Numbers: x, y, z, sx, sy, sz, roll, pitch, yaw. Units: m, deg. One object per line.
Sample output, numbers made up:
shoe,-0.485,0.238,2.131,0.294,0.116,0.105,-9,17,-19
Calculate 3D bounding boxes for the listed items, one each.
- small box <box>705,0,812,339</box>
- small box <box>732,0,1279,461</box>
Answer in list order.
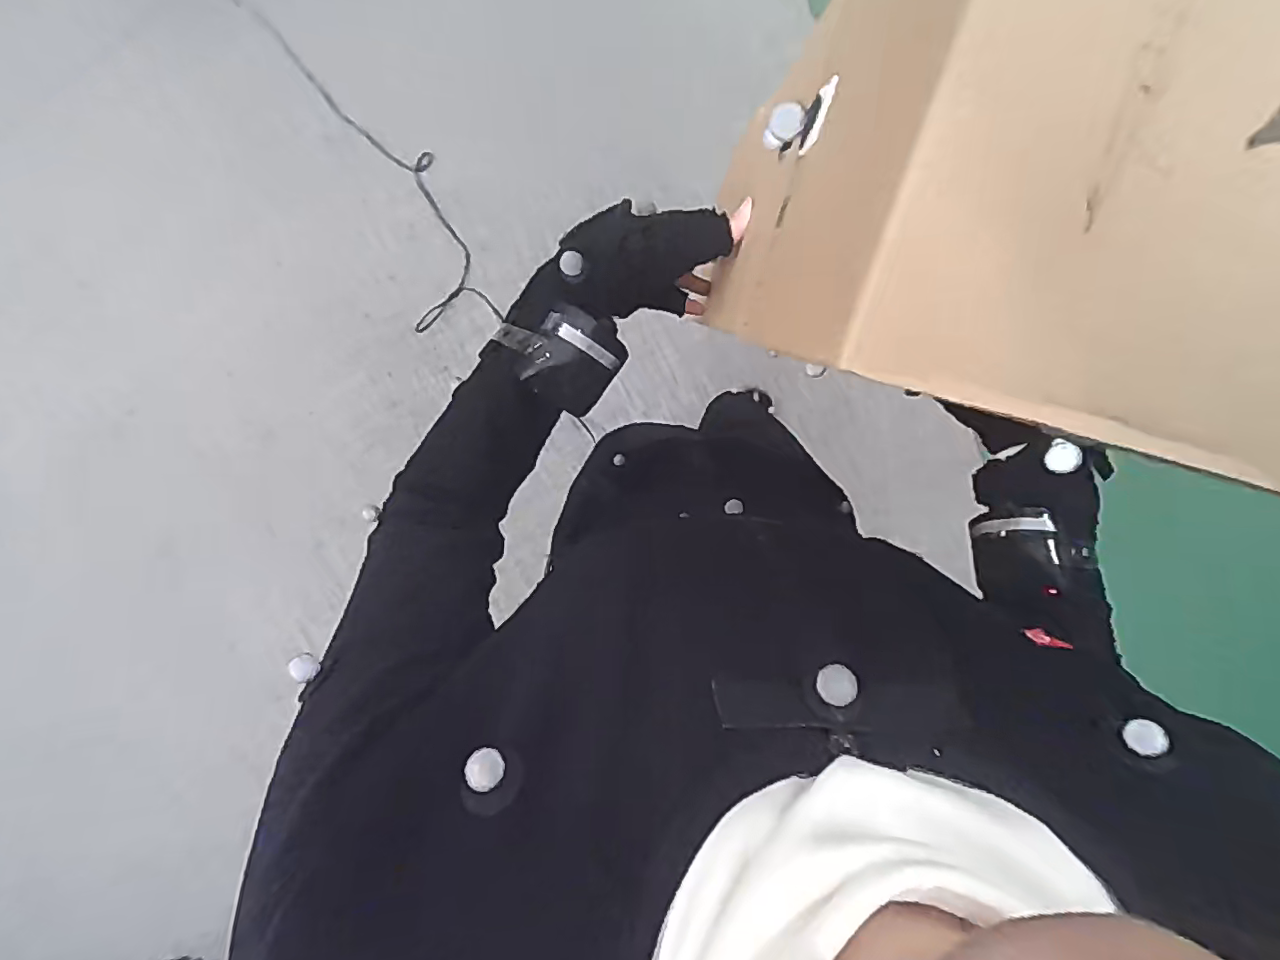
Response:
small box,0.150,-0.170,0.355,0.179,0.176,0.168,10,108,-3
small box,0.147,-0.117,0.200,0.179,0.176,0.168,13,106,-2
